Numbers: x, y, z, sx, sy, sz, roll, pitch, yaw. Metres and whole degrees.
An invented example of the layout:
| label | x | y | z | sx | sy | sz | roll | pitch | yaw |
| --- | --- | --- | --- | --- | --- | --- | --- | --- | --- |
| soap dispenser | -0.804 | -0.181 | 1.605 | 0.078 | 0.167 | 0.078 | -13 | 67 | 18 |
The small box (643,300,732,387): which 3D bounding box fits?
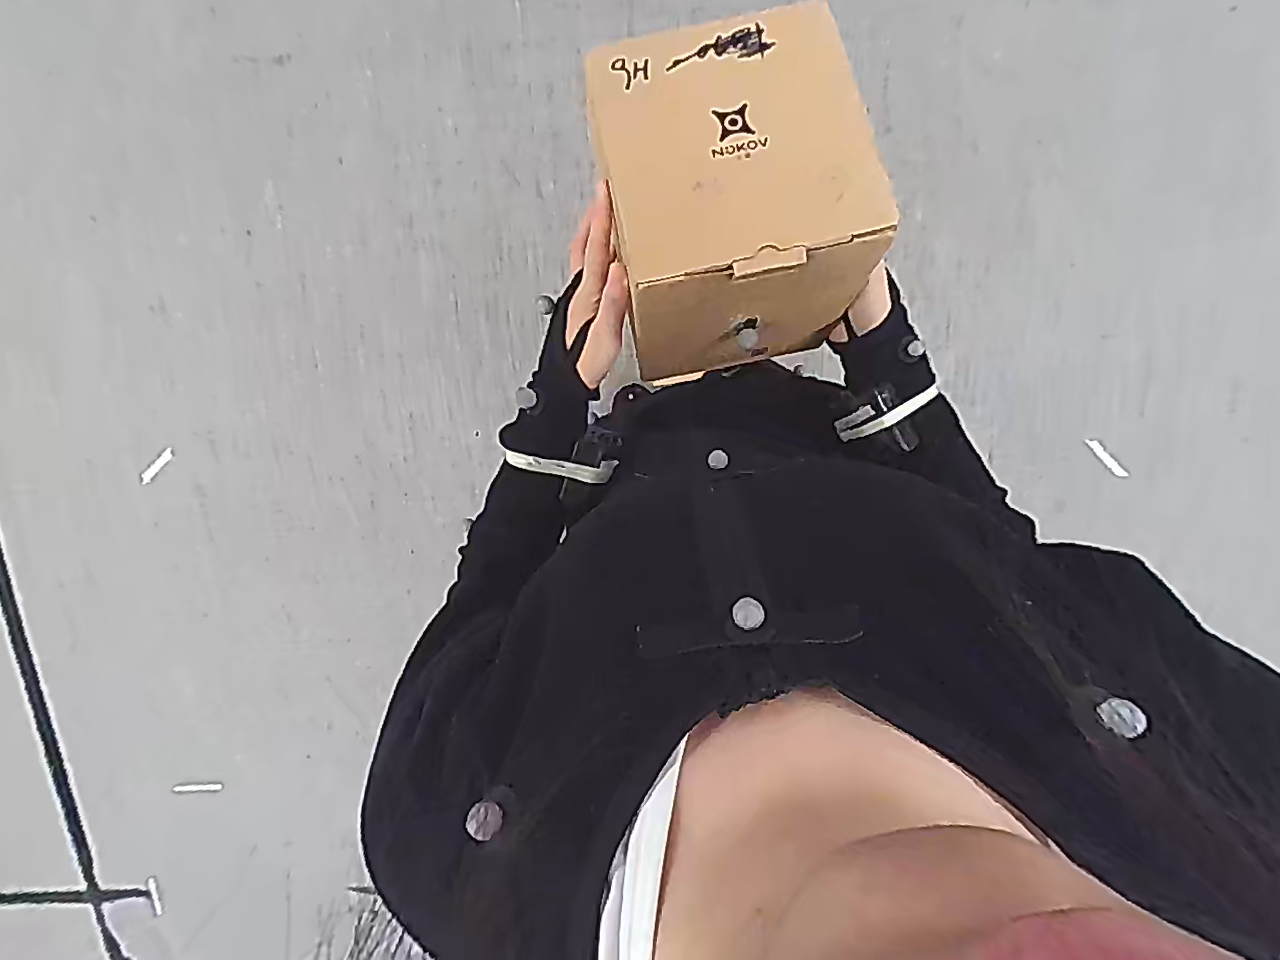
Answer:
| label | x | y | z | sx | sy | sz | roll | pitch | yaw |
| --- | --- | --- | --- | --- | --- | --- | --- | --- | --- |
| small box | 0.102 | -0.295 | 1.190 | 0.179 | 0.176 | 0.168 | -5 | 102 | 2 |
